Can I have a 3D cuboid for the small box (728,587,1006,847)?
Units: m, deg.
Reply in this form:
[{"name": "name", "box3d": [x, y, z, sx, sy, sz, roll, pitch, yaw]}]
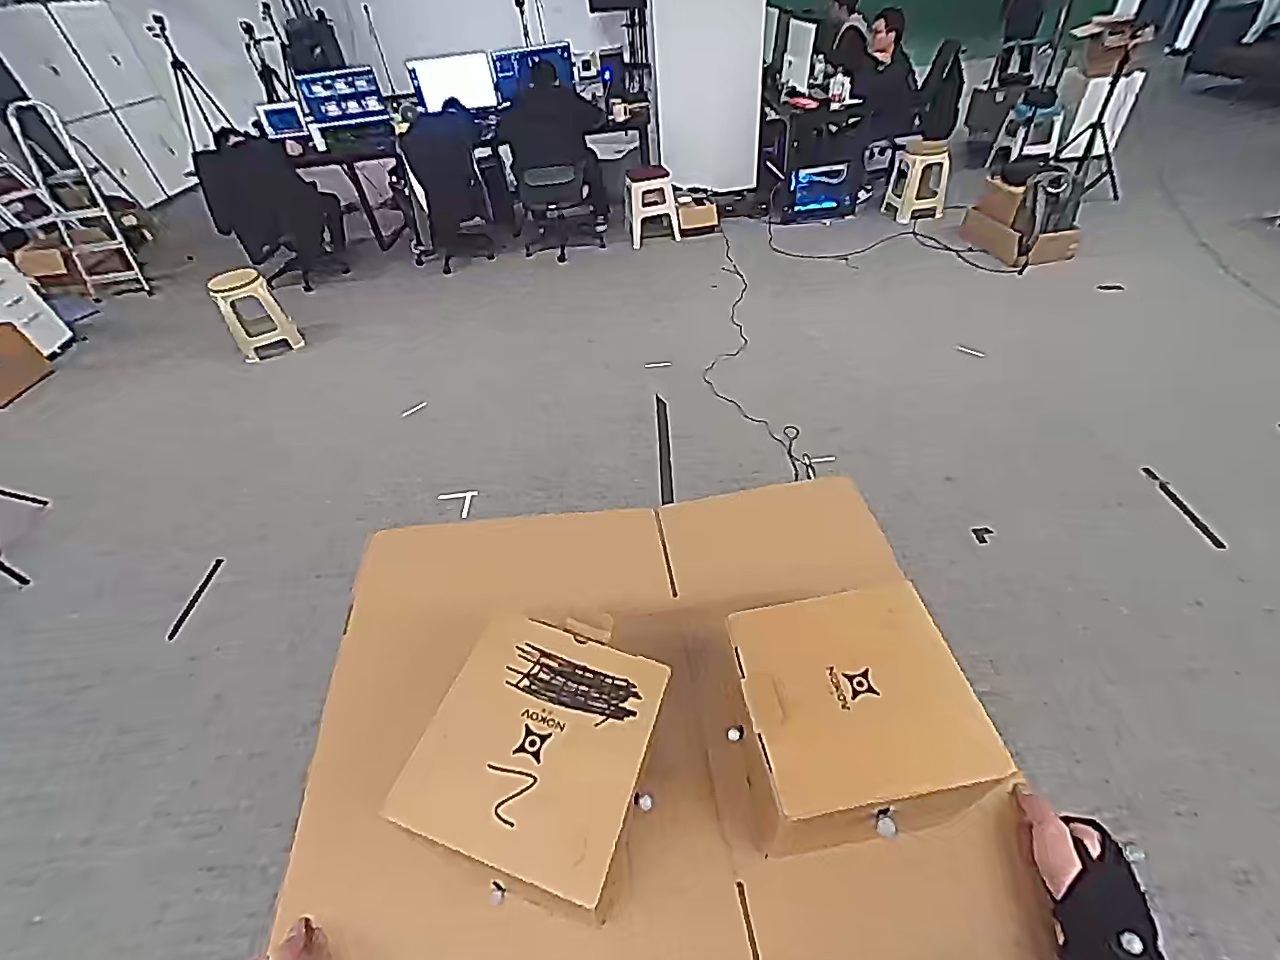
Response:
[{"name": "small box", "box3d": [0.188, 0.228, 0.515, 0.179, 0.176, 0.168, -11, 47, -1]}]
